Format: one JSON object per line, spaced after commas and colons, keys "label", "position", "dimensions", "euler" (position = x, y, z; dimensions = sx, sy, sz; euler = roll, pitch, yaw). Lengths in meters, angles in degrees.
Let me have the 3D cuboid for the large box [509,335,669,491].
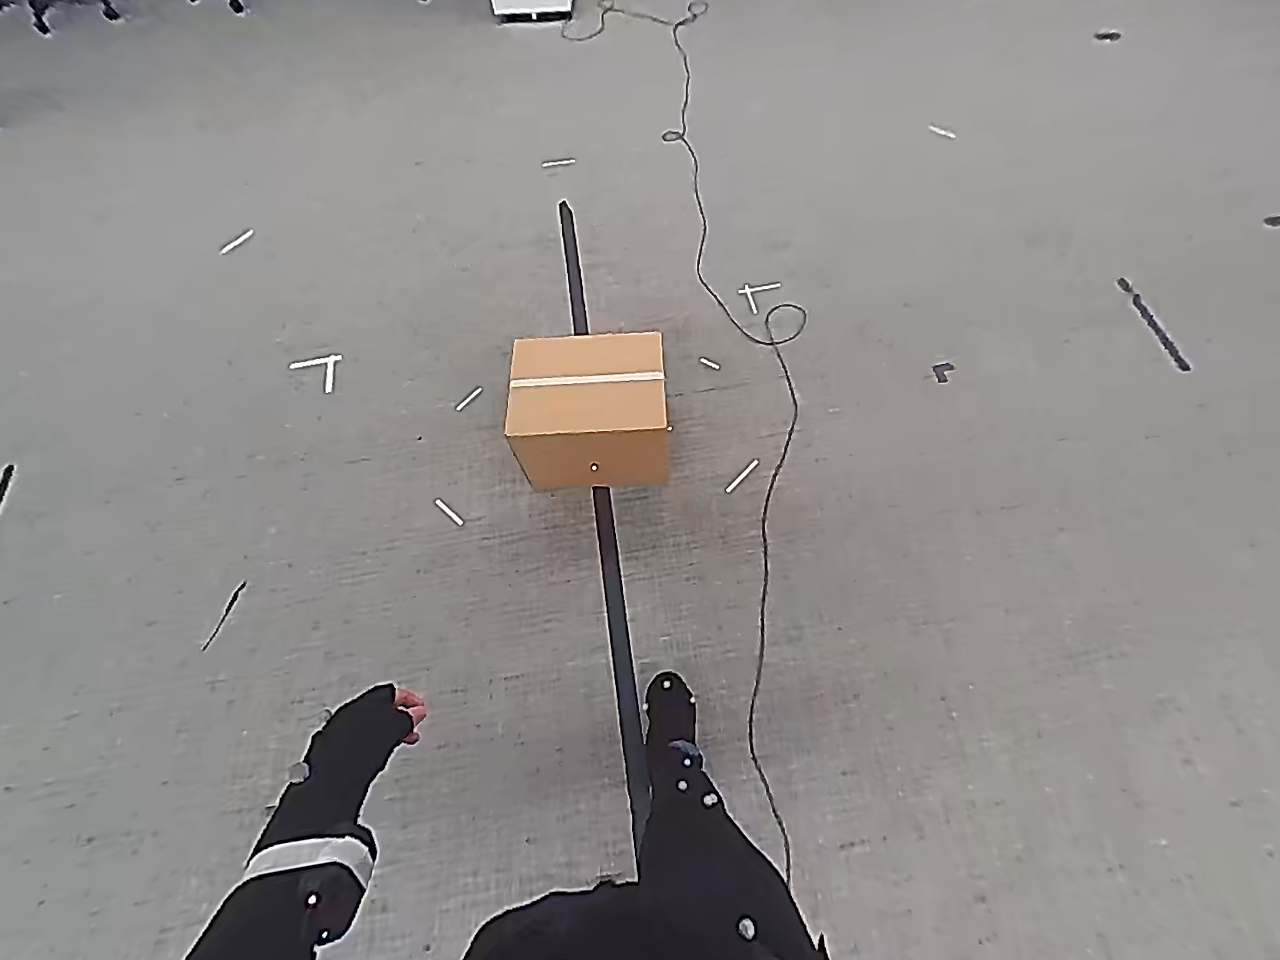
{"label": "large box", "position": [-0.128, -0.178, 1.526], "dimensions": [0.408, 0.320, 0.320], "euler": [-2, 64, 2]}
